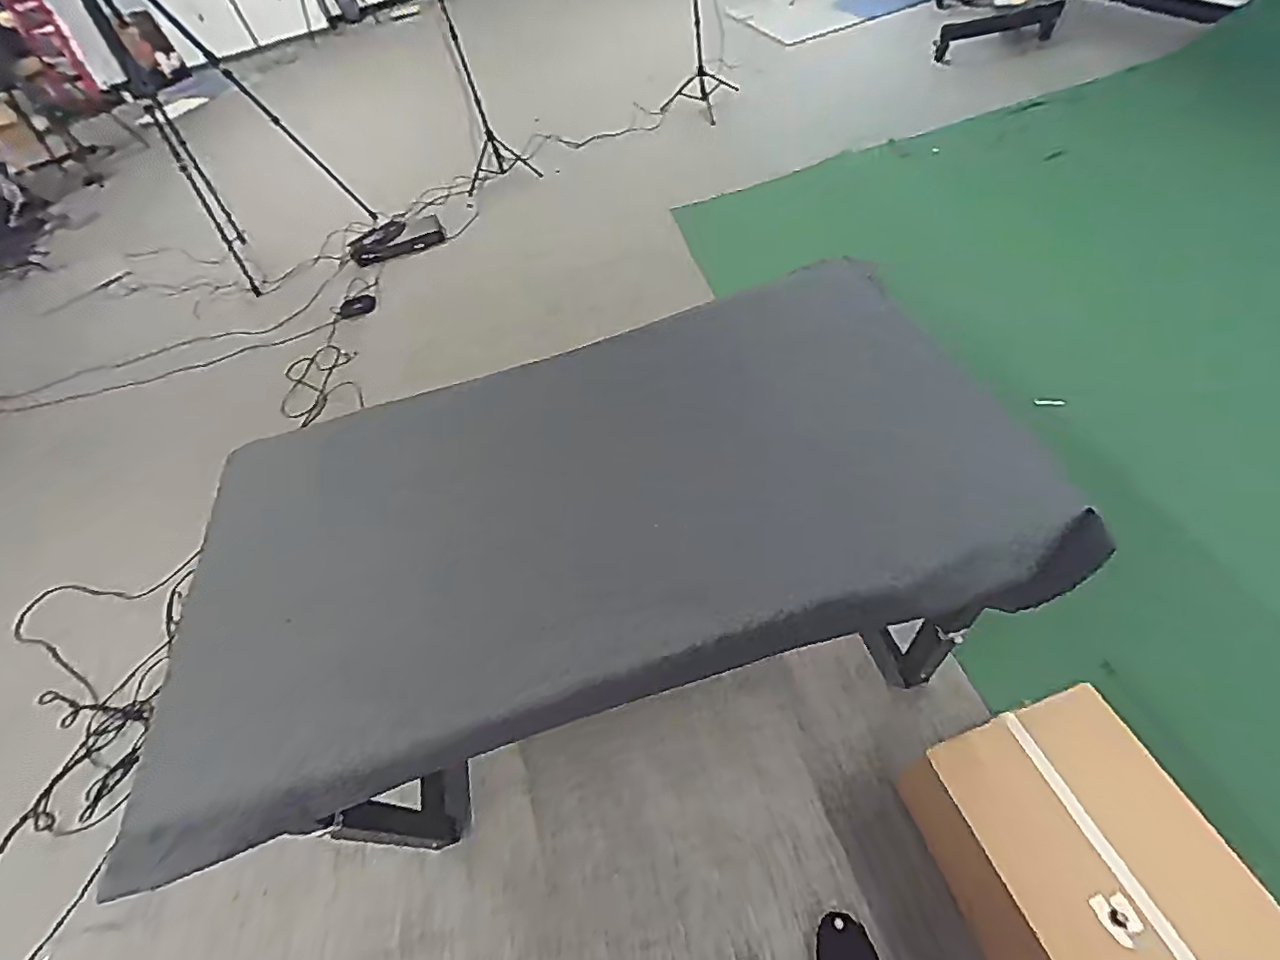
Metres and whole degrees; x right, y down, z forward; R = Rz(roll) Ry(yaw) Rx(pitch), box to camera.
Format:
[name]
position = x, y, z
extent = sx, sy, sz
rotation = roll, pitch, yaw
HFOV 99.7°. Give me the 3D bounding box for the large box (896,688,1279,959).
[large box]
position = 0.709, 0.633, 0.901
extent = 0.320, 0.320, 0.408
rotation = -21, 52, -3
